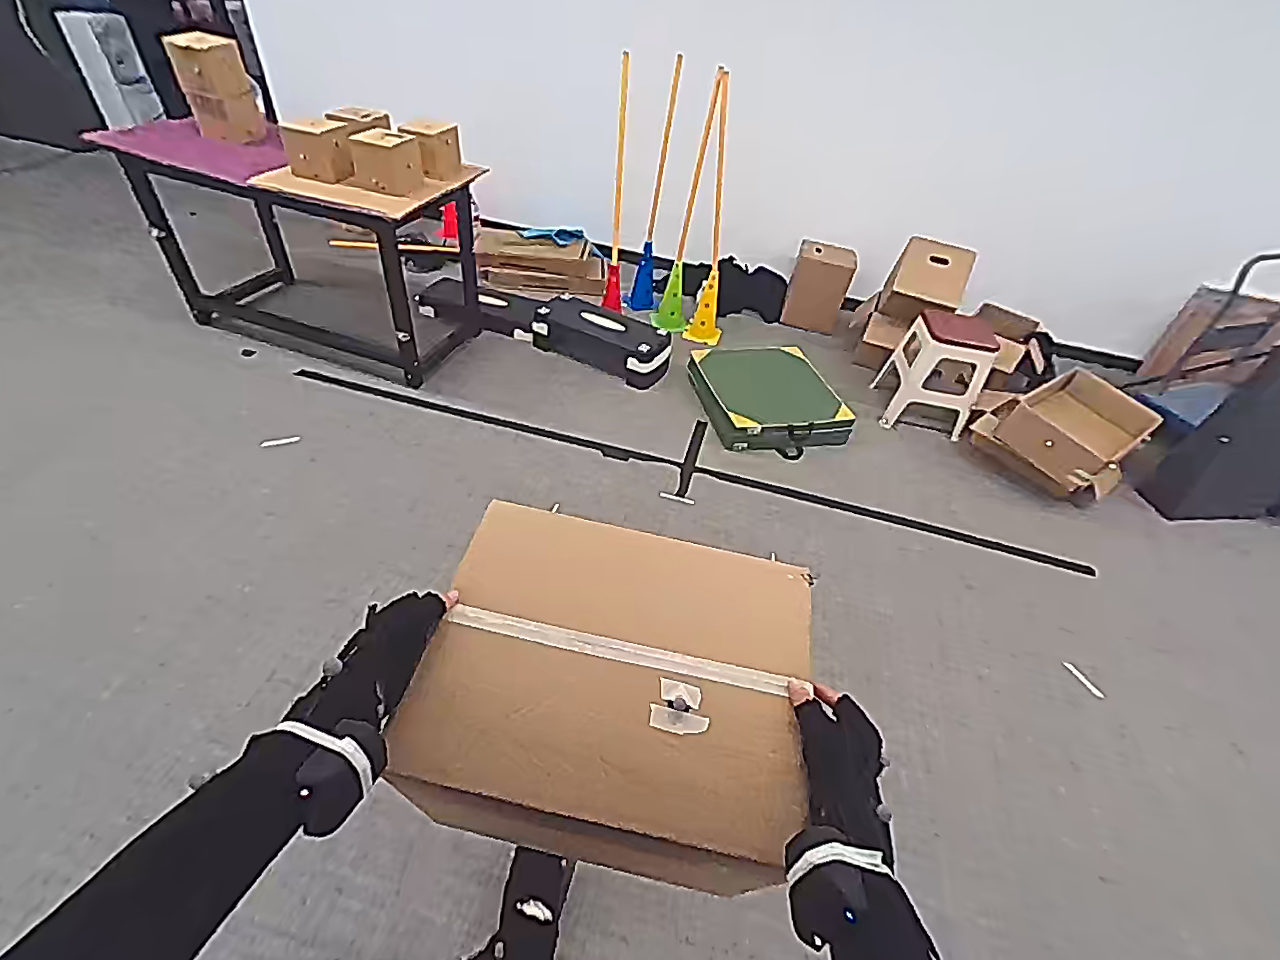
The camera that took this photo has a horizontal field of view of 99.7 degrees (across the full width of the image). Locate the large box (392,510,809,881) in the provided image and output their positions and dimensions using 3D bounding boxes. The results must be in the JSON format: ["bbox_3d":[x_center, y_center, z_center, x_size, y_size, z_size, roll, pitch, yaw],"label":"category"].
[{"bbox_3d":[-0.033,0.284,0.705,0.408,0.320,0.320,12,50,2],"label":"large box"}]
